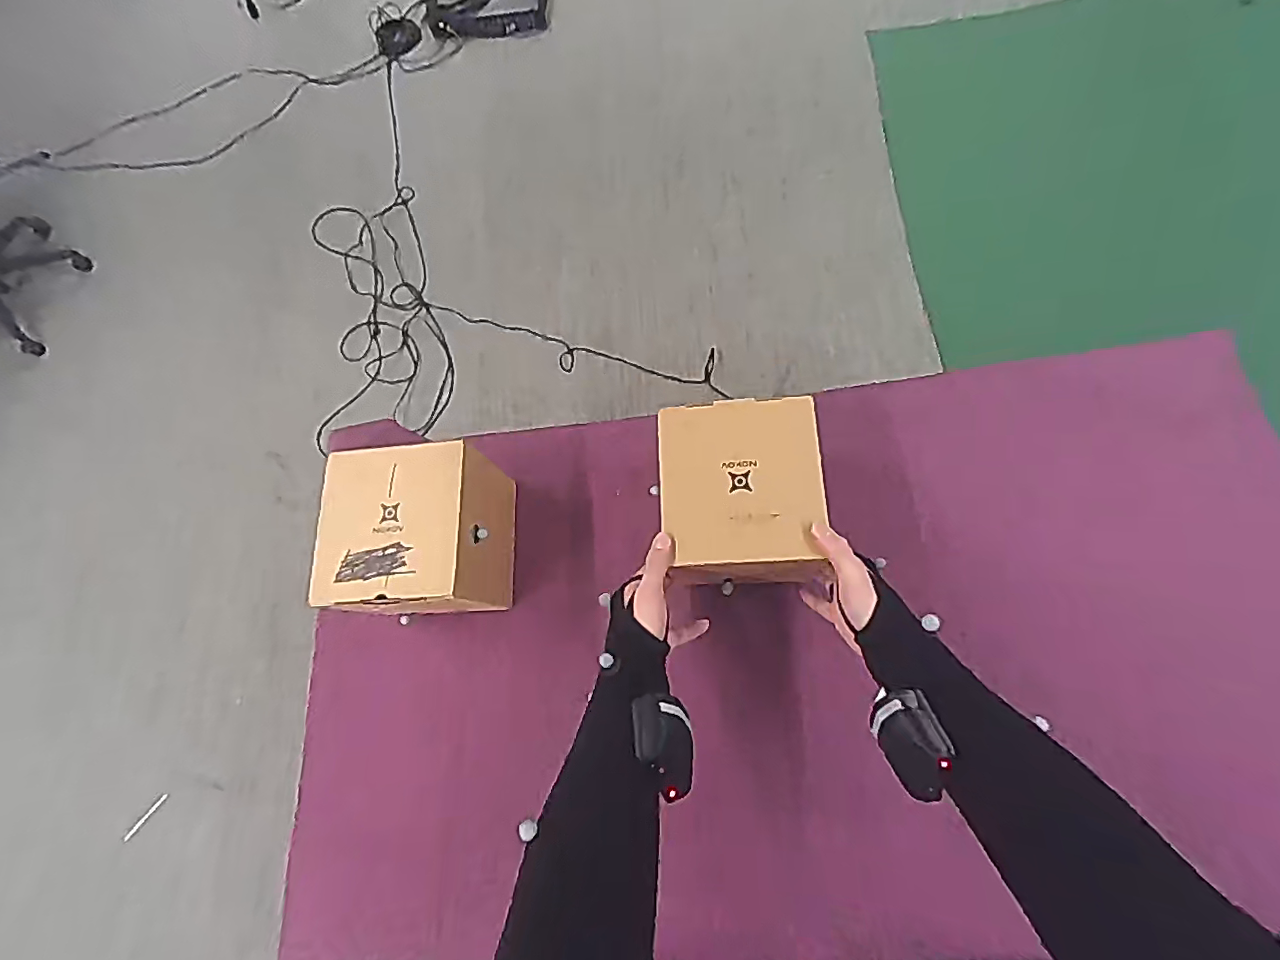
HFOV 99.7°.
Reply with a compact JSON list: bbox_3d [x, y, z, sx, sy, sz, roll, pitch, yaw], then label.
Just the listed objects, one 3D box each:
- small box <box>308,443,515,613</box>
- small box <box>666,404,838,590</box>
[{"bbox_3d":[-0.258,0.069,0.651,0.168,0.176,0.179,-4,73,6],"label":"small box"},{"bbox_3d":[0.117,0.029,0.619,0.168,0.176,0.179,-3,73,7],"label":"small box"}]
